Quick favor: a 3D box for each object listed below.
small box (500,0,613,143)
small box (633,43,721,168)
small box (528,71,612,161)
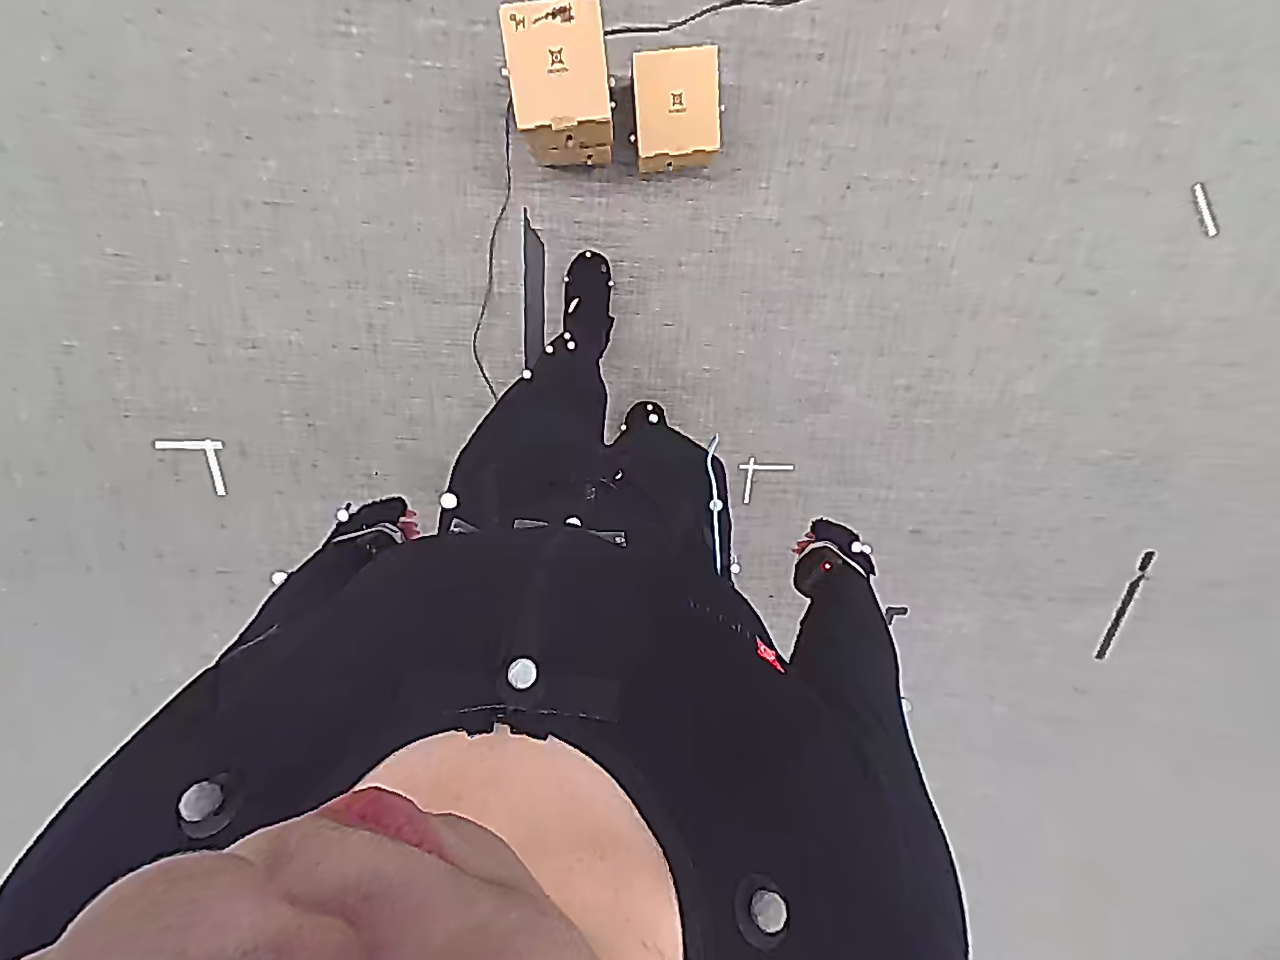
[{"bbox_3d":[-0.138,-0.719,0.966,0.168,0.176,0.179,-6,112,0],"label":"small box"},{"bbox_3d":[0.074,-0.770,1.128,0.168,0.176,0.179,-5,112,1],"label":"small box"},{"bbox_3d":[-0.144,-0.773,1.121,0.168,0.176,0.179,-2,111,-1],"label":"small box"}]
